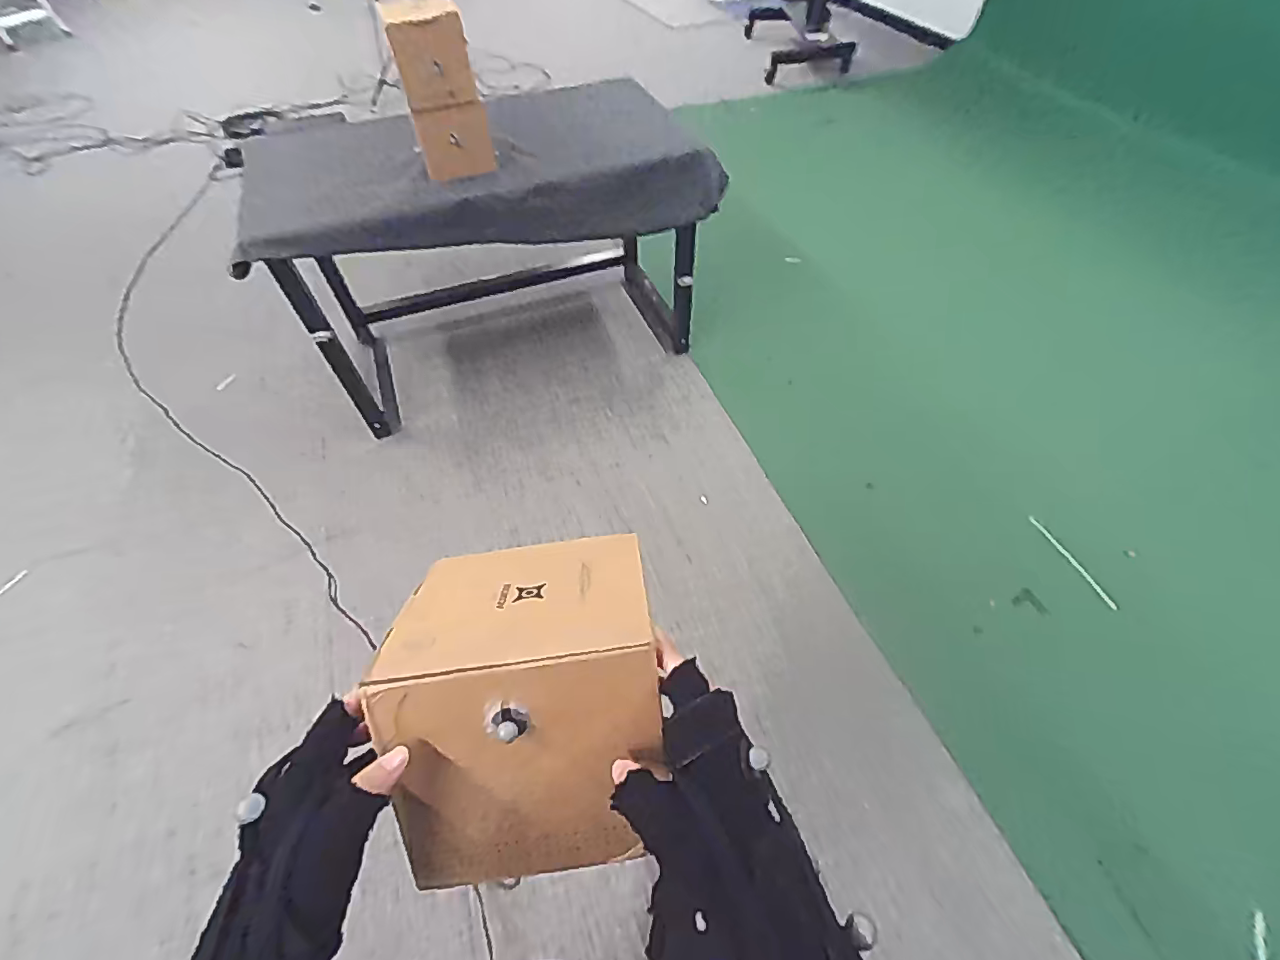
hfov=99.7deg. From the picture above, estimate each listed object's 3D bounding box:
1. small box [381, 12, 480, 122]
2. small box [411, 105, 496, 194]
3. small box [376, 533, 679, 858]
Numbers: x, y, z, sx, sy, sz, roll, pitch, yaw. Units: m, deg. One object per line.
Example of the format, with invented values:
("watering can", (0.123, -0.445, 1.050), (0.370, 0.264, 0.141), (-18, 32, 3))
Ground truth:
("small box", (-0.497, -0.982, 1.295), (0.168, 0.176, 0.179), (-19, 55, -12))
("small box", (-0.489, -0.884, 1.426), (0.179, 0.176, 0.168), (-18, 54, -11))
("small box", (-0.071, 0.158, 0.426), (0.179, 0.176, 0.168), (-7, 17, -3))
